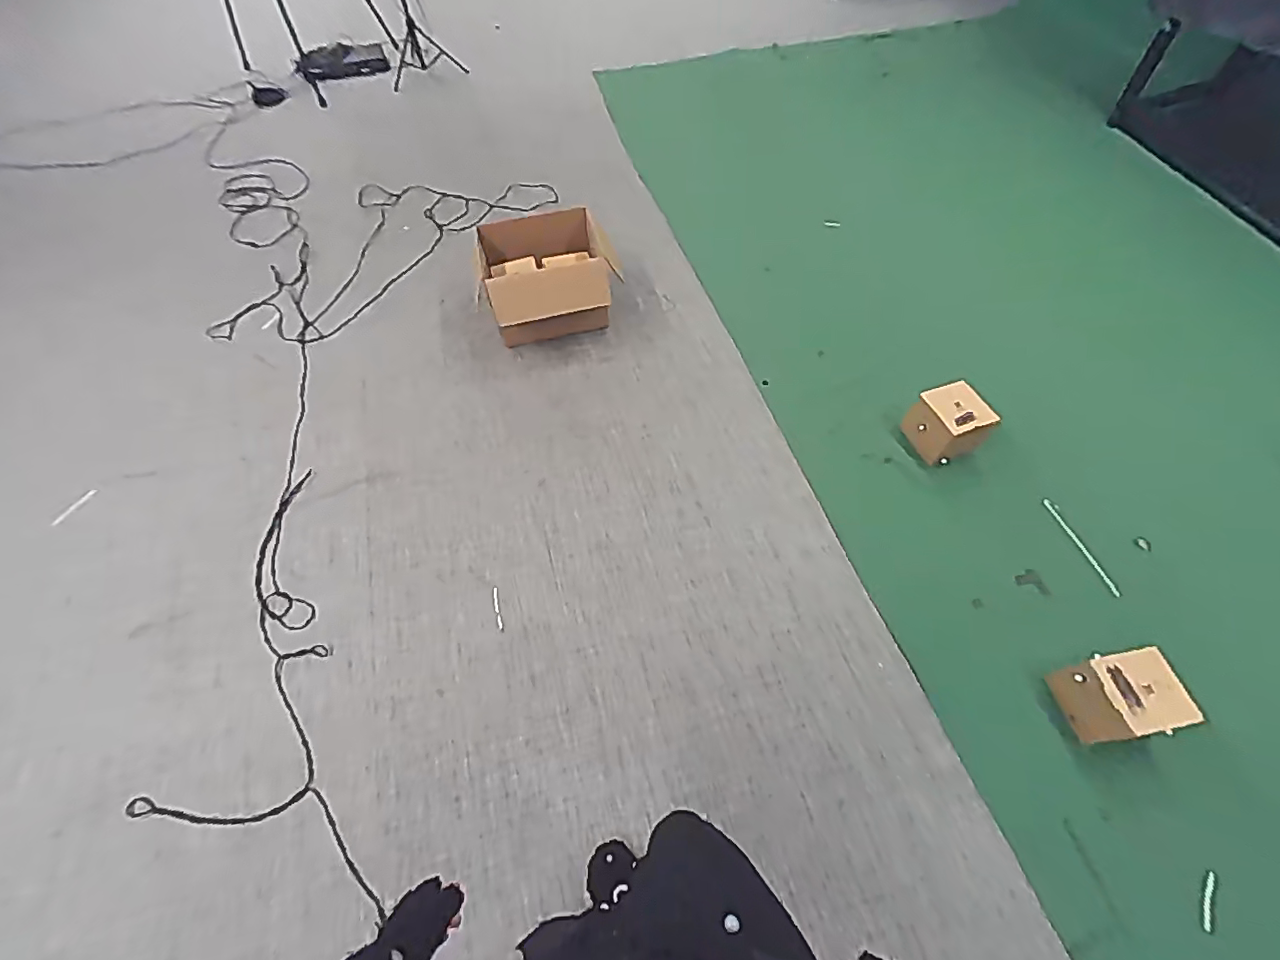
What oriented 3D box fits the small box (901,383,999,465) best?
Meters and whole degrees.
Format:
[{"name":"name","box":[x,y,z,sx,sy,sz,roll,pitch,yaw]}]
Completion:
[{"name":"small box","box":[0.961,-0.167,1.692,0.168,0.176,0.179,-17,58,-9]}]
